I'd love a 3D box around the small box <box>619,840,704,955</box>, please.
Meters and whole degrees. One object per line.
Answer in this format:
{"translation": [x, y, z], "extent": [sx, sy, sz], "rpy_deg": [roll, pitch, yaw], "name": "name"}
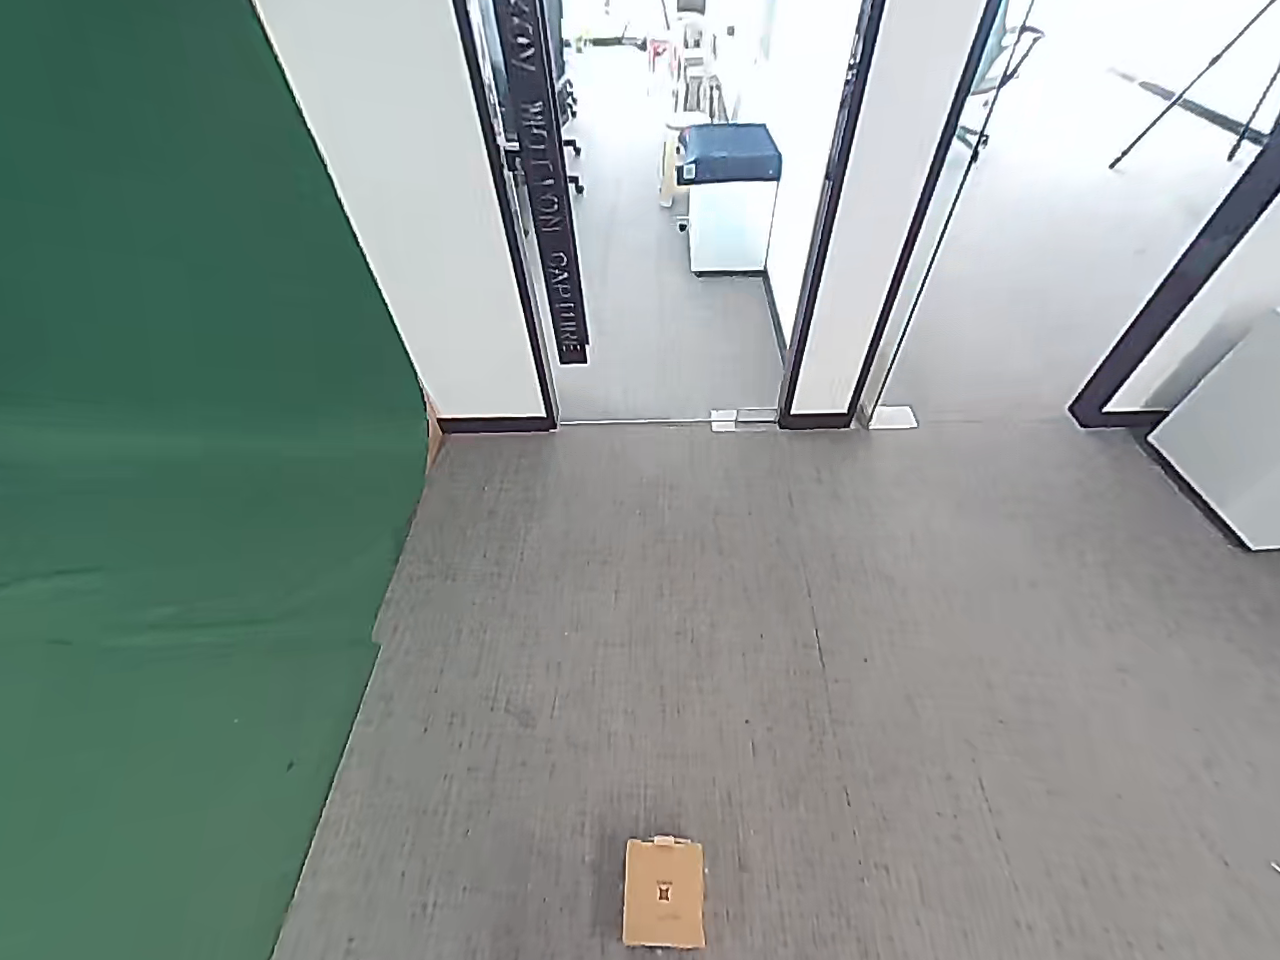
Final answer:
{"translation": [0.051, 0.897, 1.160], "extent": [0.168, 0.176, 0.179], "rpy_deg": [1, 49, 6], "name": "small box"}
